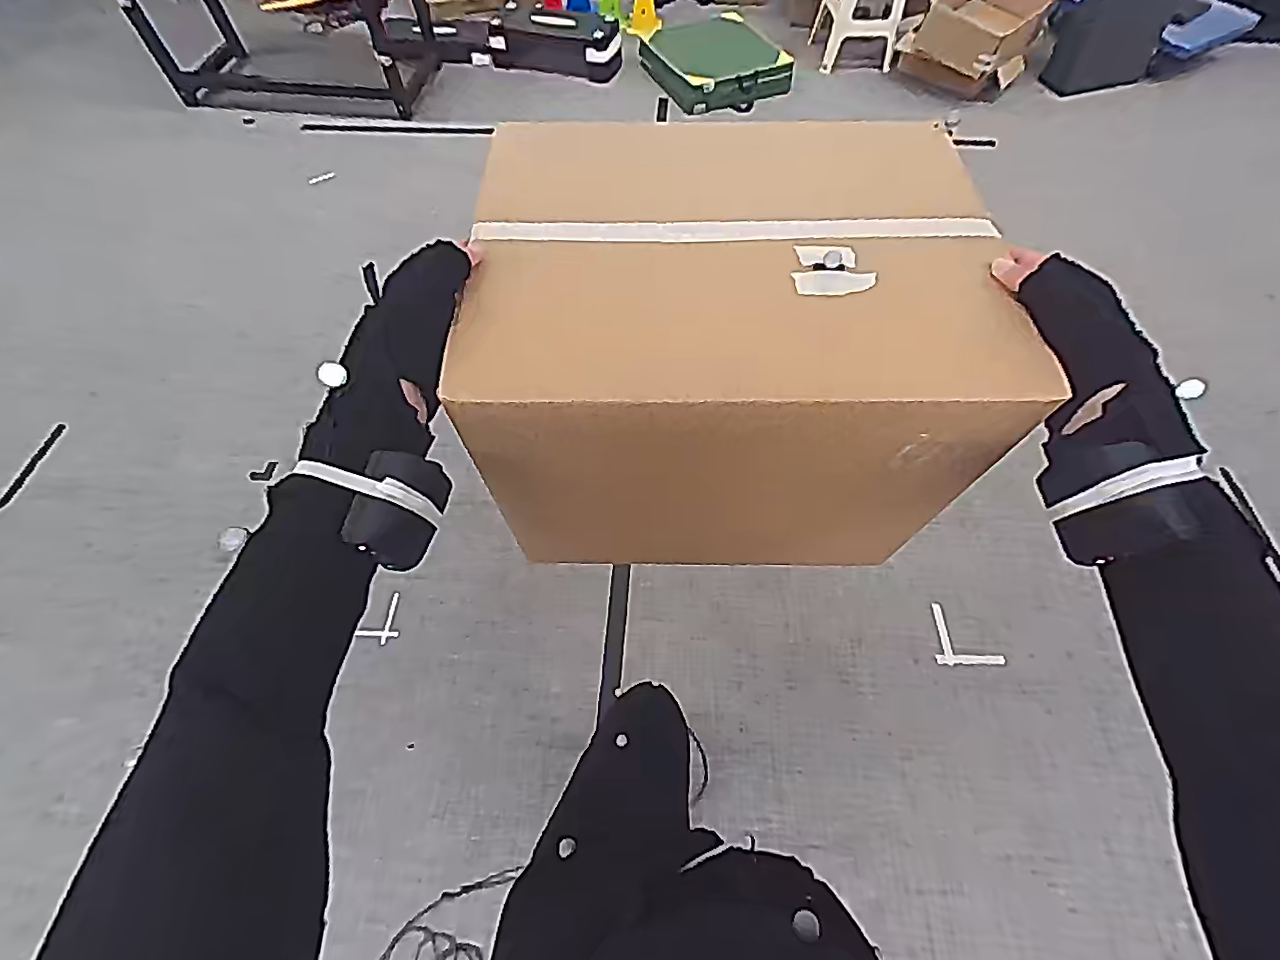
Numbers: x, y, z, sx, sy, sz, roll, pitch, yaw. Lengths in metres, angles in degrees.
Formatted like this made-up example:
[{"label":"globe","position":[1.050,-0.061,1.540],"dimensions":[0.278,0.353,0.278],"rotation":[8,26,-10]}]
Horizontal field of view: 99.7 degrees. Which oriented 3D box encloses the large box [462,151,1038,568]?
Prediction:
[{"label":"large box","position":[0.072,-0.105,0.567],"dimensions":[0.408,0.320,0.320],"rotation":[0,62,0]}]
